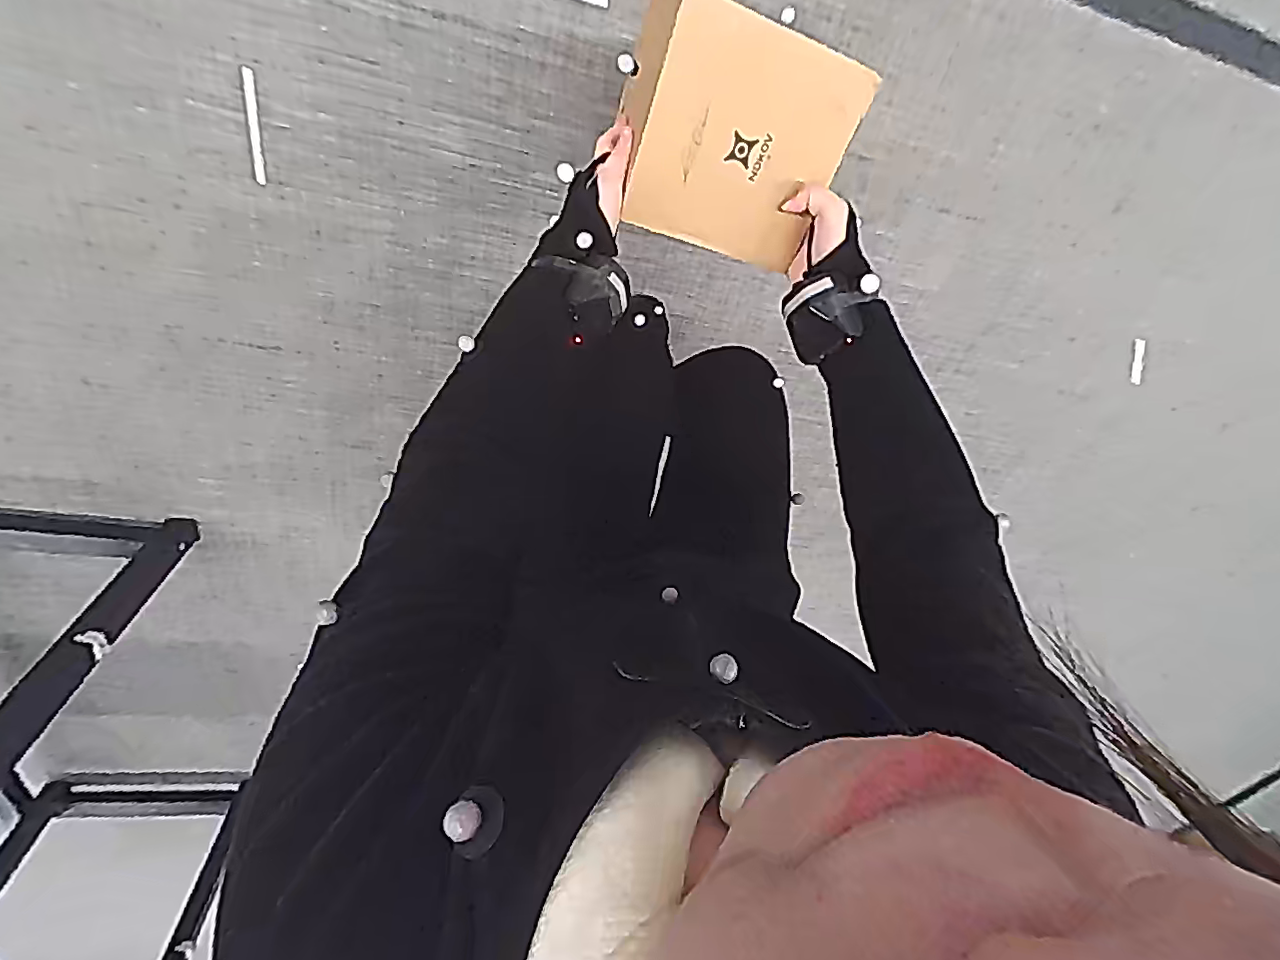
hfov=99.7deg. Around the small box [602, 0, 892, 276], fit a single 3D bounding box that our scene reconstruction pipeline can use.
[{"bbox_3d":[0.075,-0.316,0.487,0.179,0.176,0.168,10,129,-19],"label":"small box"}]
